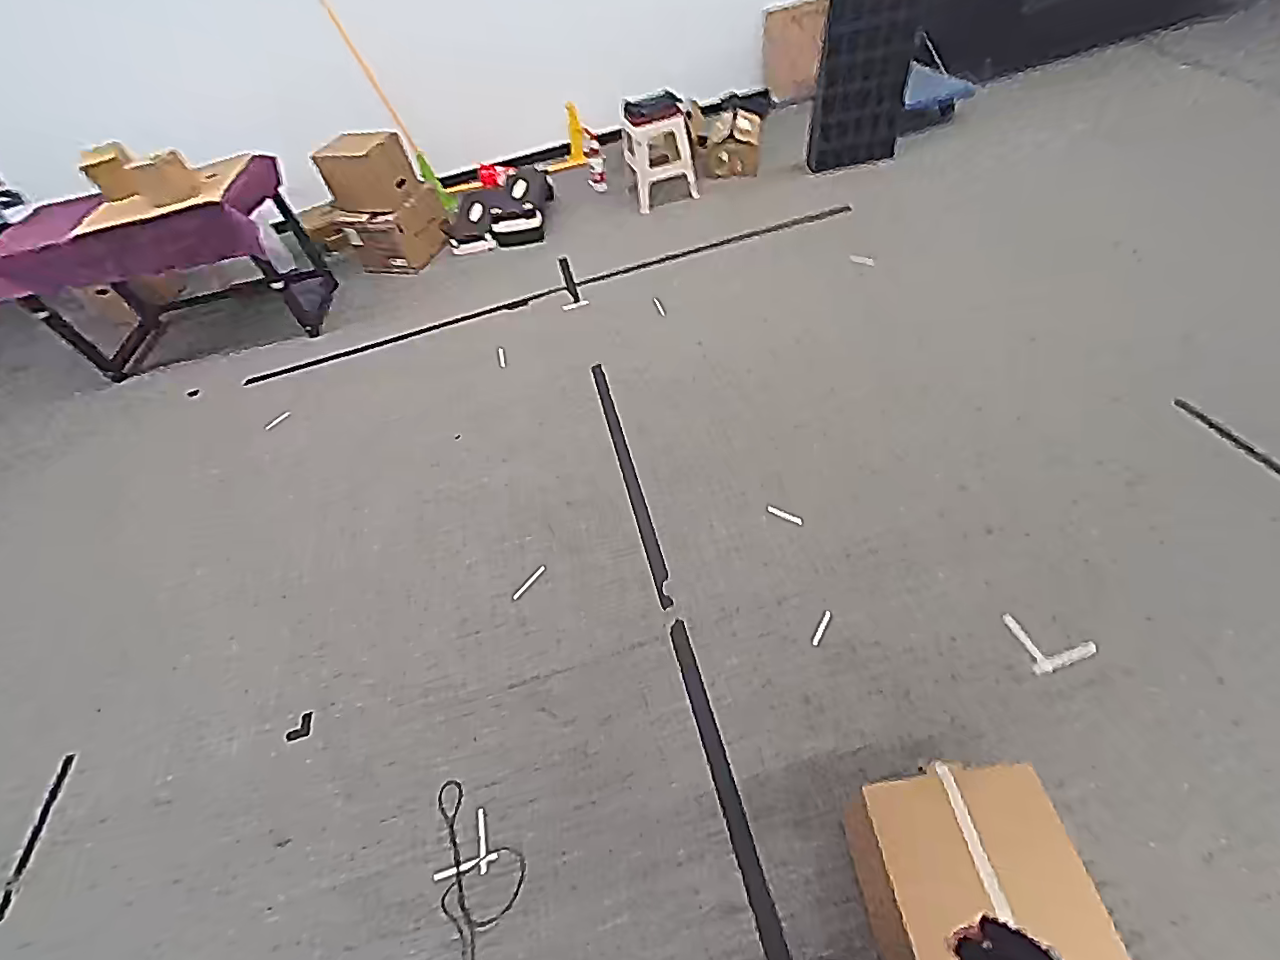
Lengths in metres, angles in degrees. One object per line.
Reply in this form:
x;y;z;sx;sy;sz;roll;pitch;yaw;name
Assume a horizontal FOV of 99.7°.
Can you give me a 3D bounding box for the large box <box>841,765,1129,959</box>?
0.610;0.797;0.997;0.320;0.320;0.408;-10;50;3;large box
